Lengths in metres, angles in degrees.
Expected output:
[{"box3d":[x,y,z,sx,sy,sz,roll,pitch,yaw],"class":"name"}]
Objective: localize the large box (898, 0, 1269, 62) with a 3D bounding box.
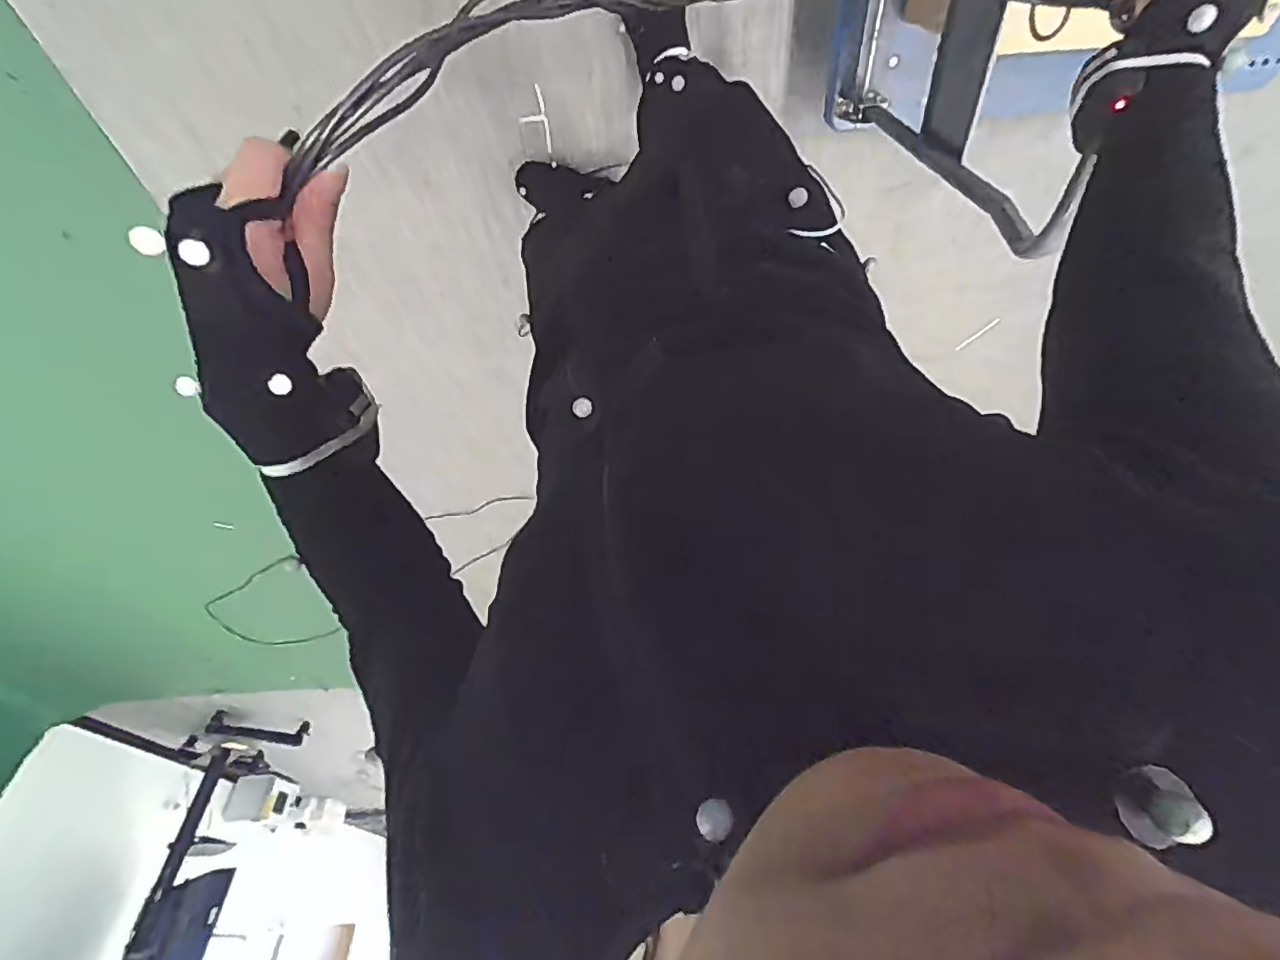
[{"box3d":[0.659,-0.834,0.773,0.408,0.320,0.320,-4,138,0],"class":"large box"}]
